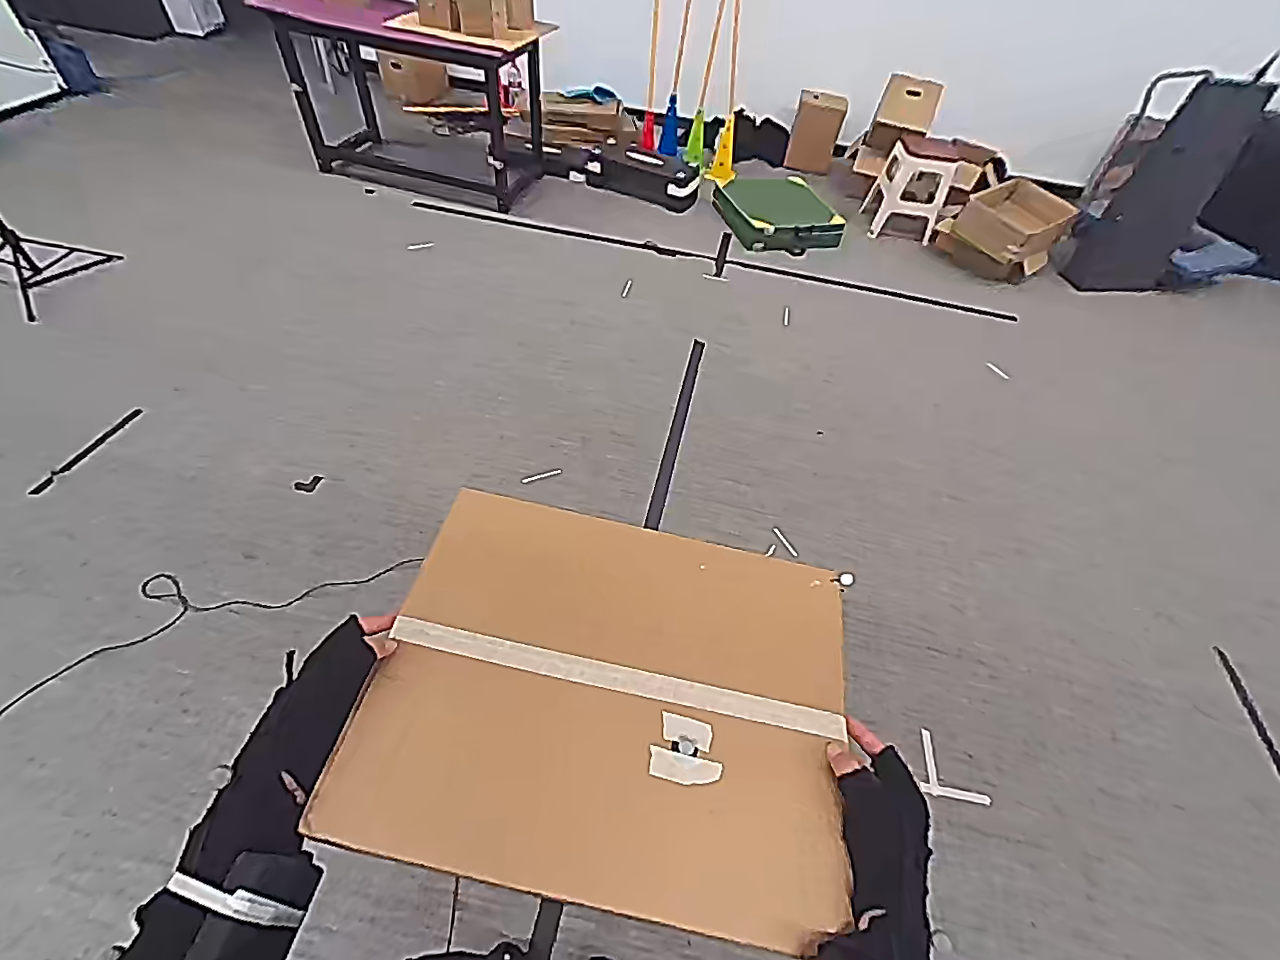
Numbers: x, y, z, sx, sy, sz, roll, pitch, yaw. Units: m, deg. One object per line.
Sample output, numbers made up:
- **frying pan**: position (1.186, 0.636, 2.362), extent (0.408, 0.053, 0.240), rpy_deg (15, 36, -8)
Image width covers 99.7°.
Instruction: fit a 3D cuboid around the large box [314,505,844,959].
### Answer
- **large box**: position (-0.040, 0.272, 0.597), extent (0.408, 0.320, 0.320), rpy_deg (13, 54, 1)
